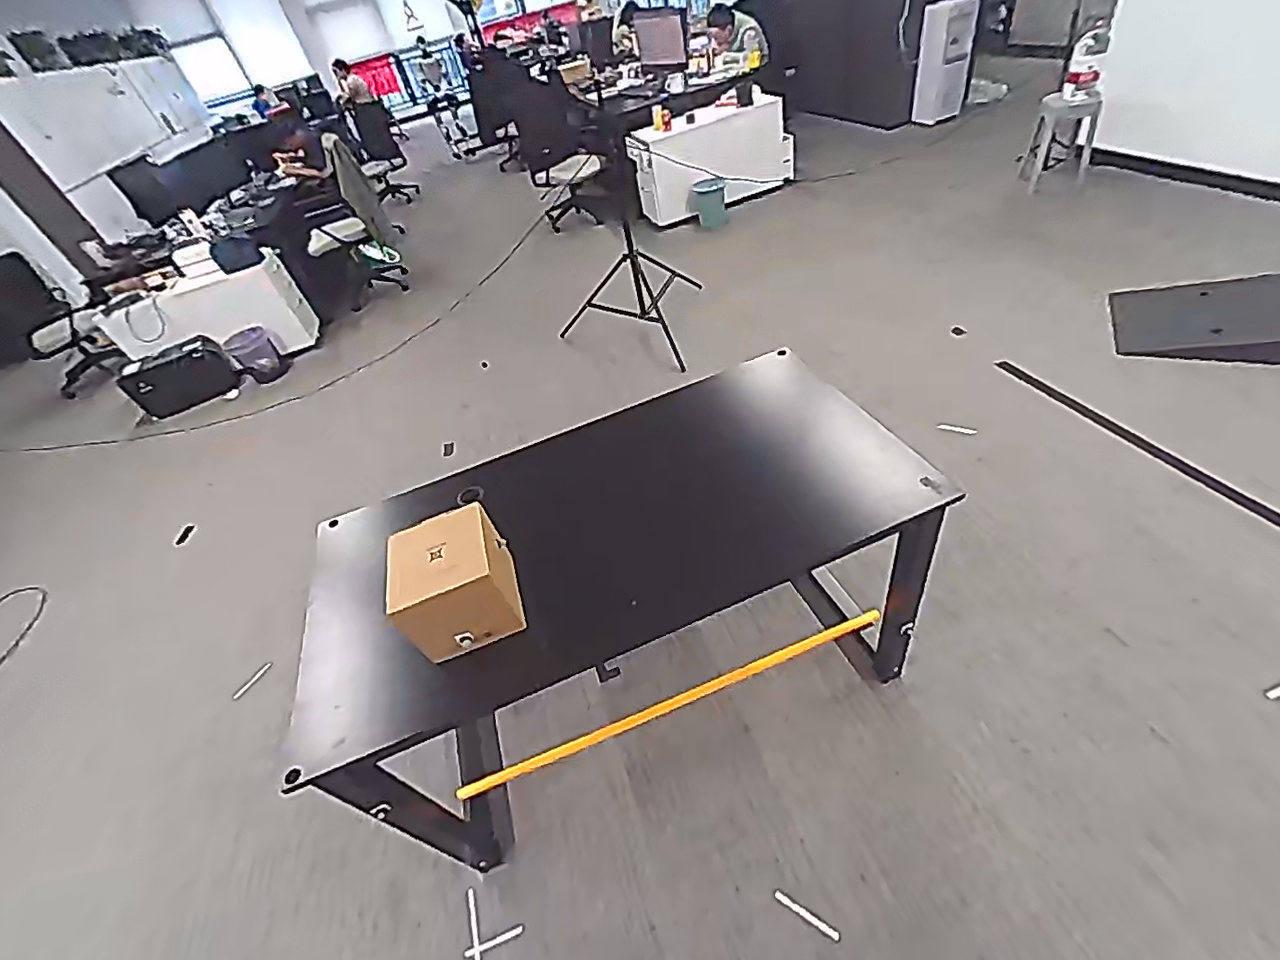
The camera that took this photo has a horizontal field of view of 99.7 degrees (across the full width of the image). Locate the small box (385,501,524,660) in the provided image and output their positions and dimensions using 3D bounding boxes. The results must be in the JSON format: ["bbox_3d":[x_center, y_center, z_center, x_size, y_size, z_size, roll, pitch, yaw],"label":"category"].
[{"bbox_3d":[-0.315,0.173,0.928,0.168,0.176,0.179,-22,44,-6],"label":"small box"}]
